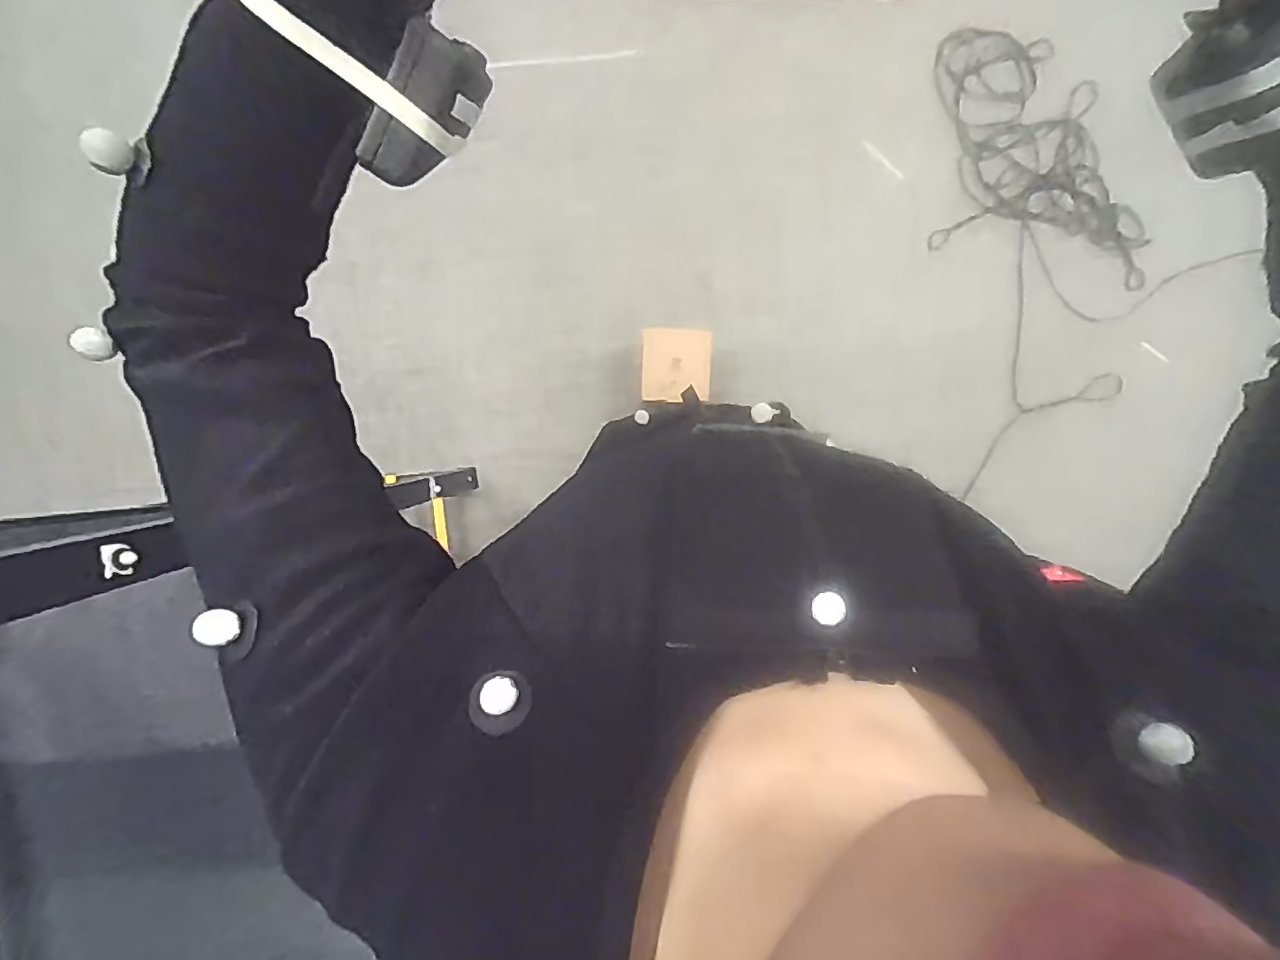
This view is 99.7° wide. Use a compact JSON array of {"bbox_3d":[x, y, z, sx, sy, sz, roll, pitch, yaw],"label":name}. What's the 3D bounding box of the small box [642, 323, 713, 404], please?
[{"bbox_3d":[0.090,-0.291,1.375,0.168,0.176,0.179,2,95,1],"label":"small box"}]
